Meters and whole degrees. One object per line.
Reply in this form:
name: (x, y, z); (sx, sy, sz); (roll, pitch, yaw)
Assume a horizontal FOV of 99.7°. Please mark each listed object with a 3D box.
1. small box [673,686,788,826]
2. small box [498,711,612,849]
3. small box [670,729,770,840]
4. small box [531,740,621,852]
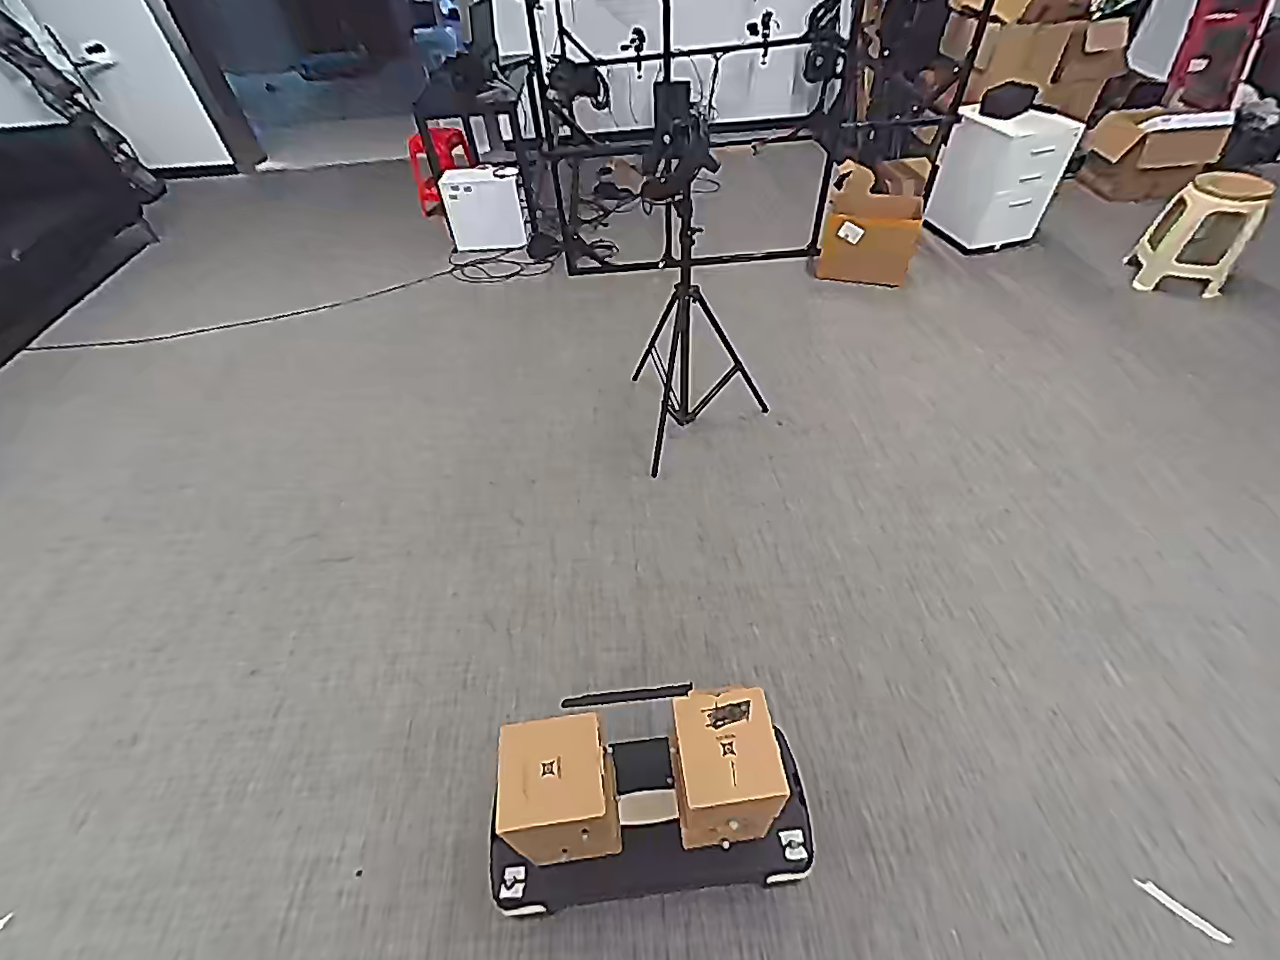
small box: (0.152, 0.498, 0.975); (0.168, 0.176, 0.179); (-8, 48, -2)
small box: (-0.145, 0.536, 0.964); (0.179, 0.176, 0.168); (-8, 47, -3)
small box: (0.153, 0.612, 1.094); (0.168, 0.176, 0.179); (-8, 48, -2)
small box: (-0.136, 0.646, 1.085); (0.179, 0.176, 0.168); (-8, 48, -3)
